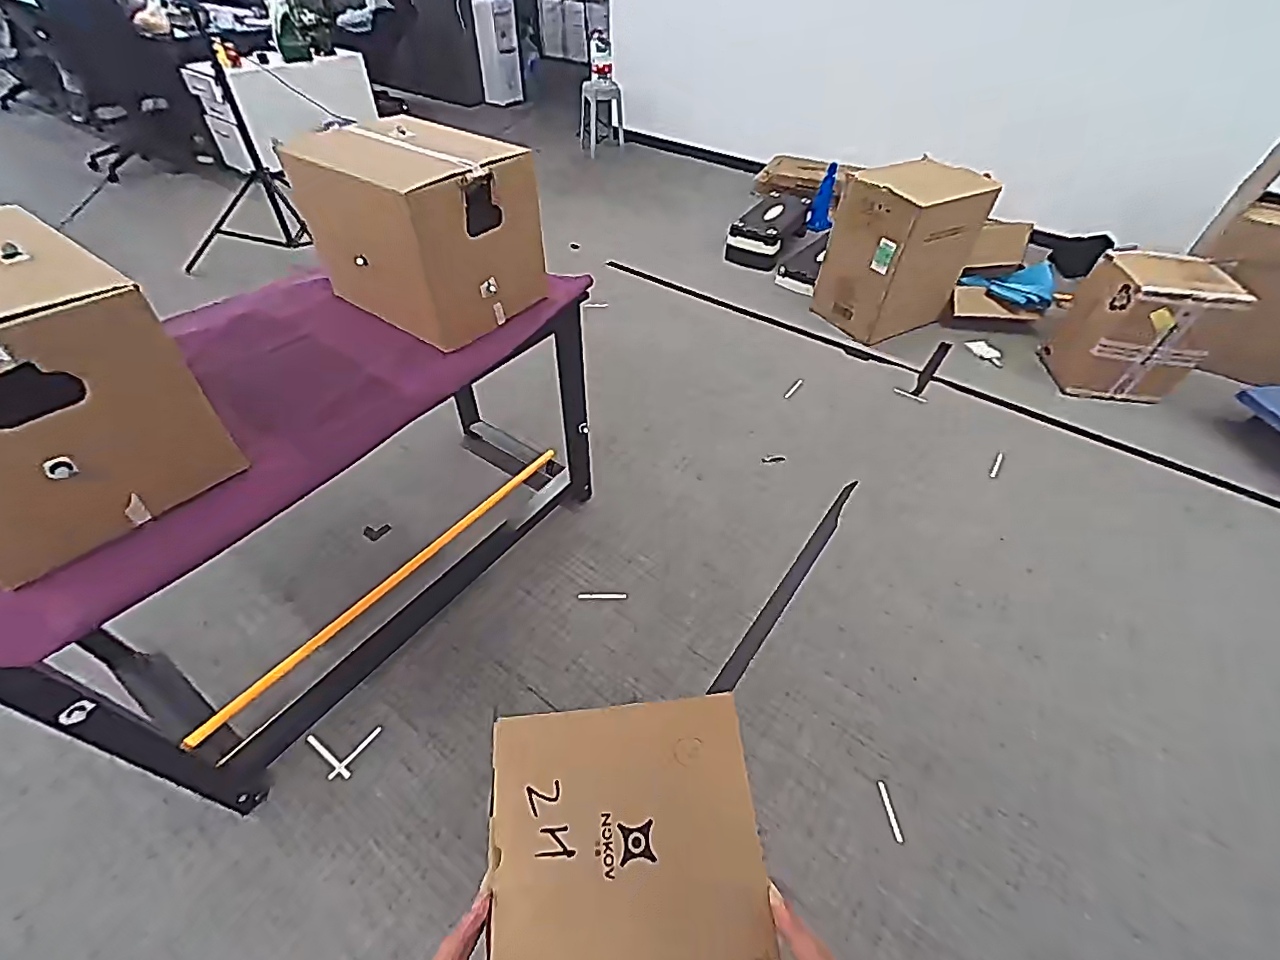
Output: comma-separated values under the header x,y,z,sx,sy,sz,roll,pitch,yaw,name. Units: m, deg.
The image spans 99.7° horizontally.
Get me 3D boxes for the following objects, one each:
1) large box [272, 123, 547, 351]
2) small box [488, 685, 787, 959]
x,y,z,sx,sy,sz,roll,pitch,yaw,name
-0.462,-0.528,1.158,0.408,0.320,0.320,27,50,23,large box
-0.006,0.264,0.414,0.179,0.176,0.168,-6,58,-1,small box
